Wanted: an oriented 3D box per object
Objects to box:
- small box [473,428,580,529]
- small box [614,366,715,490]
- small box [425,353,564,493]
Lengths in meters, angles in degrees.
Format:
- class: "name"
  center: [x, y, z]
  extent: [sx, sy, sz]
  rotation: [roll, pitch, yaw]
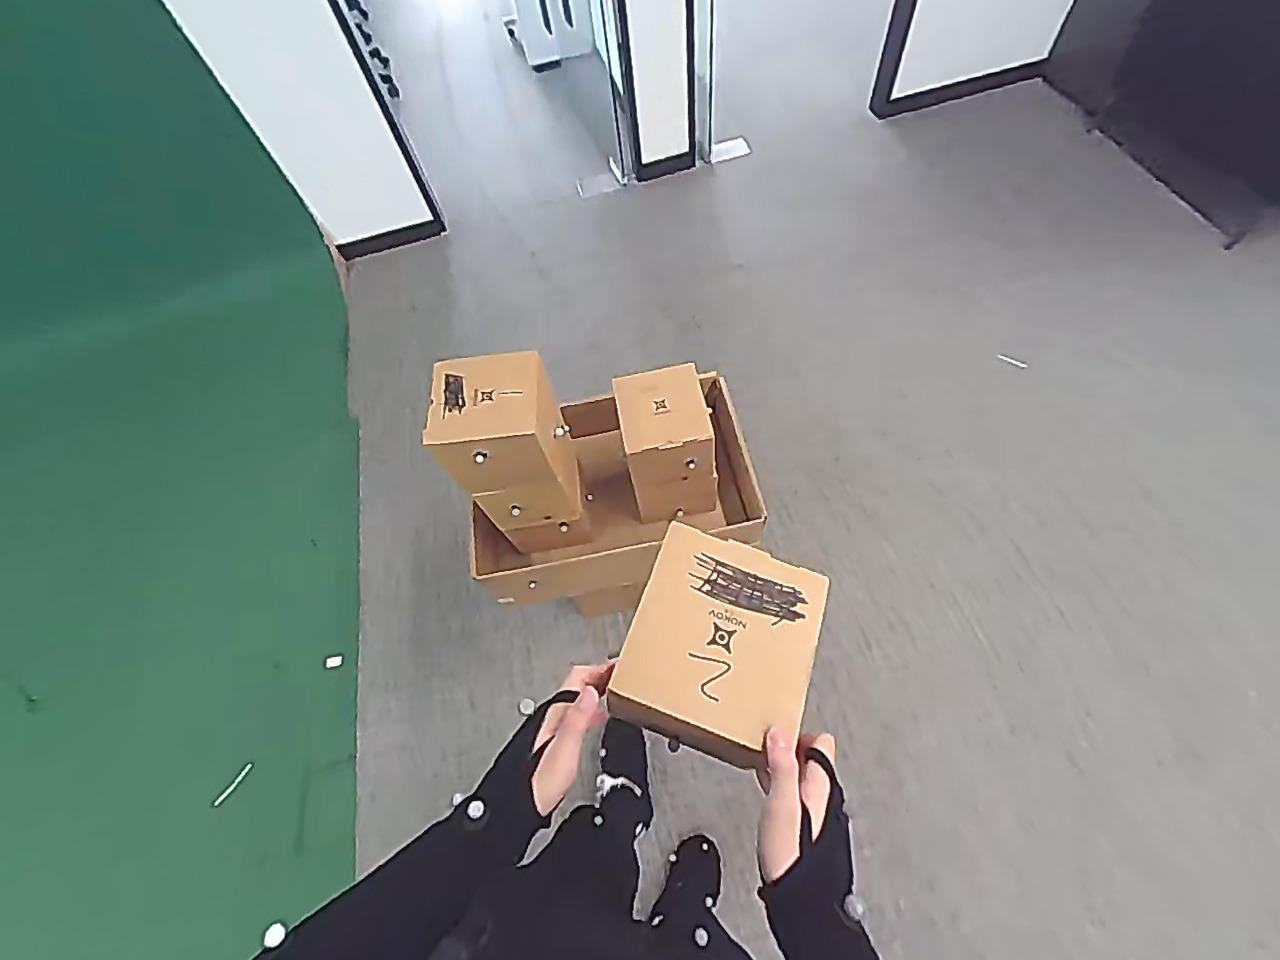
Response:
- class: "small box"
  center: [-0.217, -0.015, 1.063]
  extent: [0.168, 0.176, 0.179]
  rotation: [-9, 61, 2]
- class: "small box"
  center: [0.051, -0.093, 1.071]
  extent: [0.168, 0.176, 0.179]
  rotation: [-11, 61, 0]
- class: "small box"
  center: [-0.235, -0.088, 0.917]
  extent: [0.179, 0.176, 0.168]
  rotation: [-6, 62, 3]
